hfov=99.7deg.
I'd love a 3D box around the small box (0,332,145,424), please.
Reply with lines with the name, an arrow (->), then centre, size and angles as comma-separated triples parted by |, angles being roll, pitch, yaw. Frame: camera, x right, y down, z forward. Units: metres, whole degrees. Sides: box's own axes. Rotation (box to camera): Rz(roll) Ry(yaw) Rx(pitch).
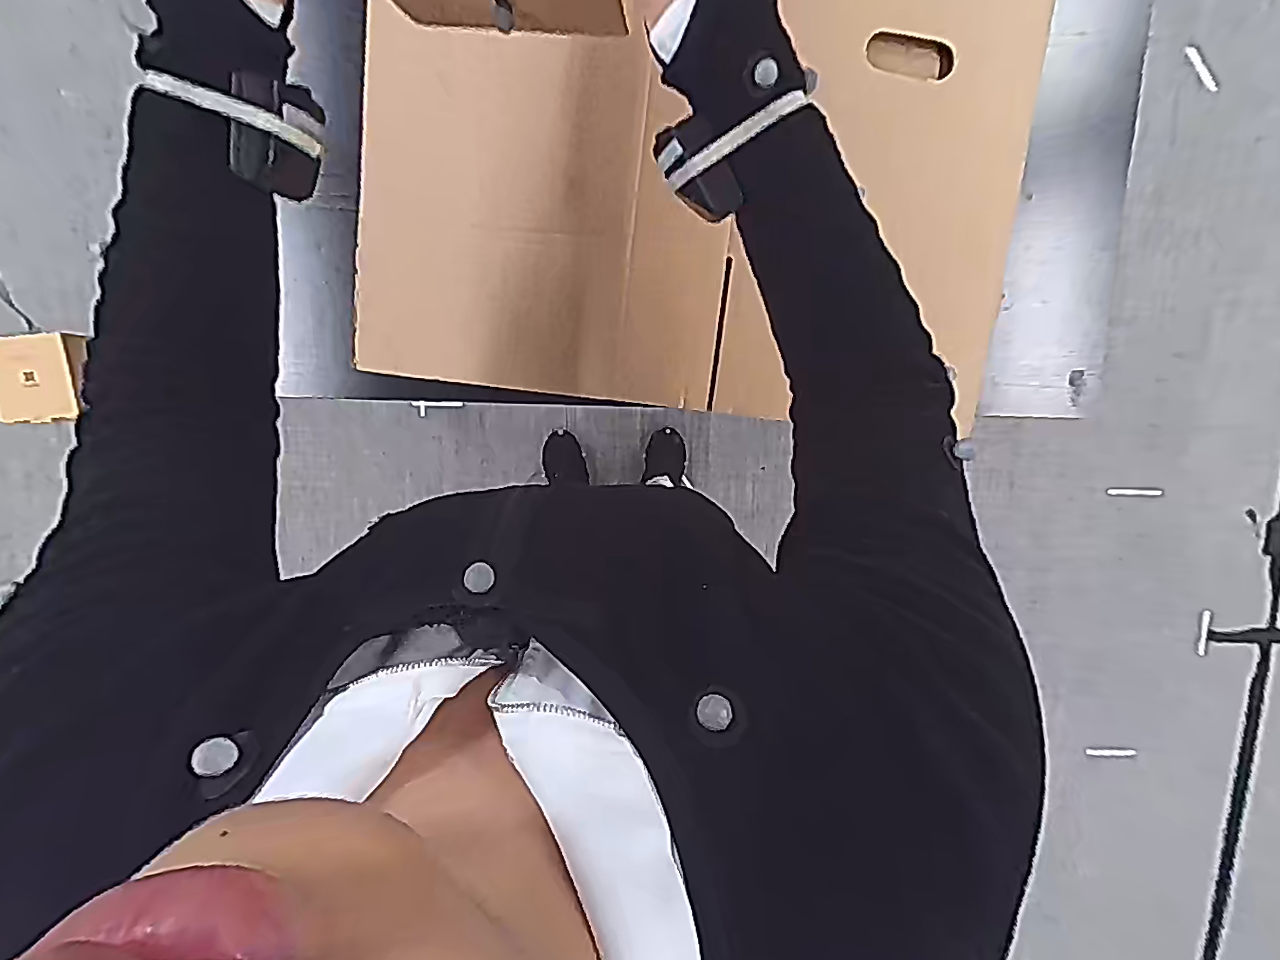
small box -> -1.249, -0.220, 1.189 | 0.168, 0.176, 0.179 | -5, 97, -1

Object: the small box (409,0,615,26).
small box -> -0.093, -0.414, 0.323 | 0.179, 0.176, 0.168 | 7, 105, 4
